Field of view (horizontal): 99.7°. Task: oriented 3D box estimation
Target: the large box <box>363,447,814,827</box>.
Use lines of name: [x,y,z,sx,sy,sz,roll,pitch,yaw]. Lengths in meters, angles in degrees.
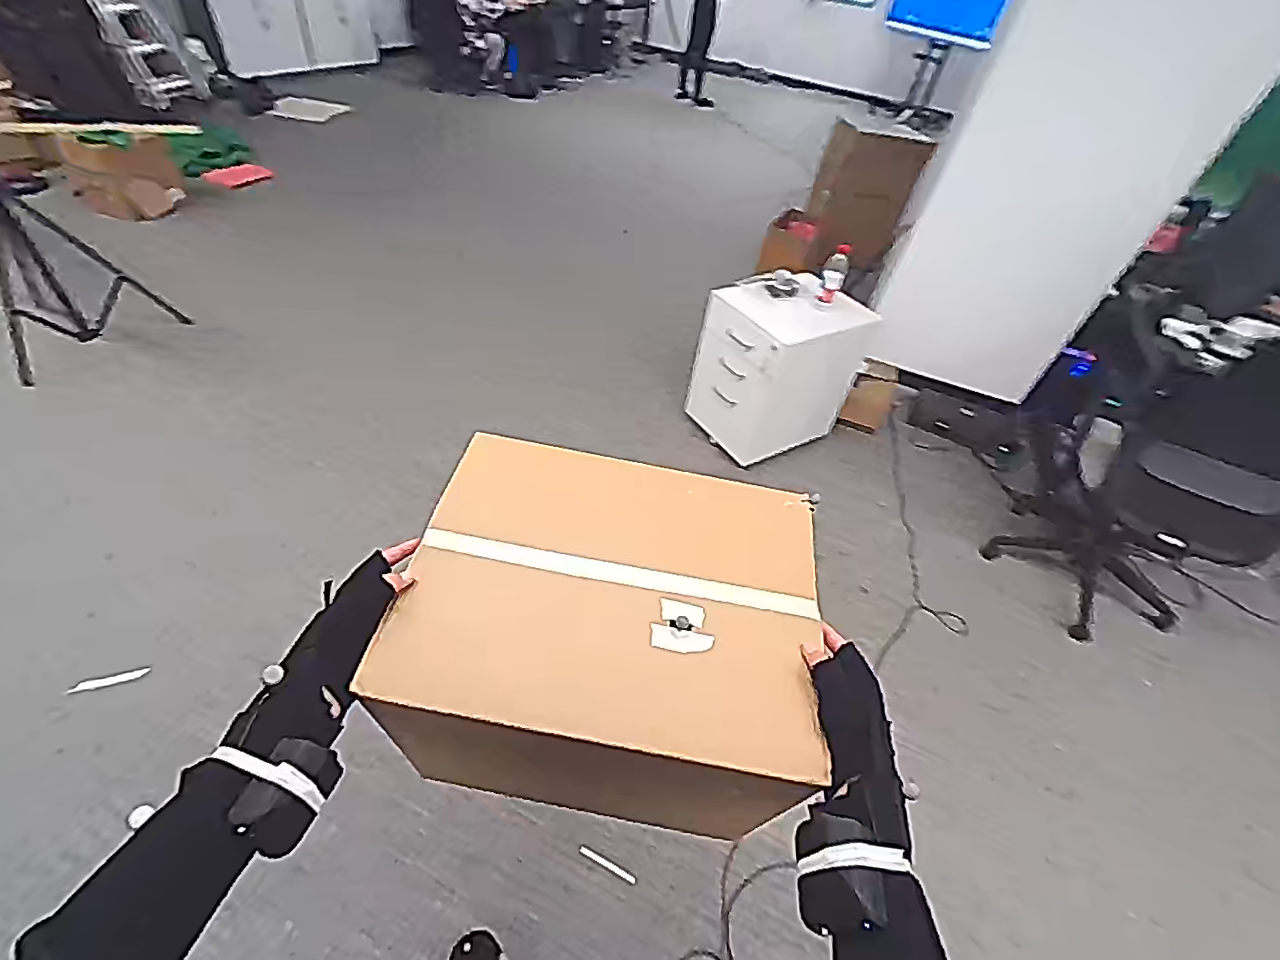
large box: [-0.046,0.201,0.671,0.408,0.320,0.320,11,50,-1]
